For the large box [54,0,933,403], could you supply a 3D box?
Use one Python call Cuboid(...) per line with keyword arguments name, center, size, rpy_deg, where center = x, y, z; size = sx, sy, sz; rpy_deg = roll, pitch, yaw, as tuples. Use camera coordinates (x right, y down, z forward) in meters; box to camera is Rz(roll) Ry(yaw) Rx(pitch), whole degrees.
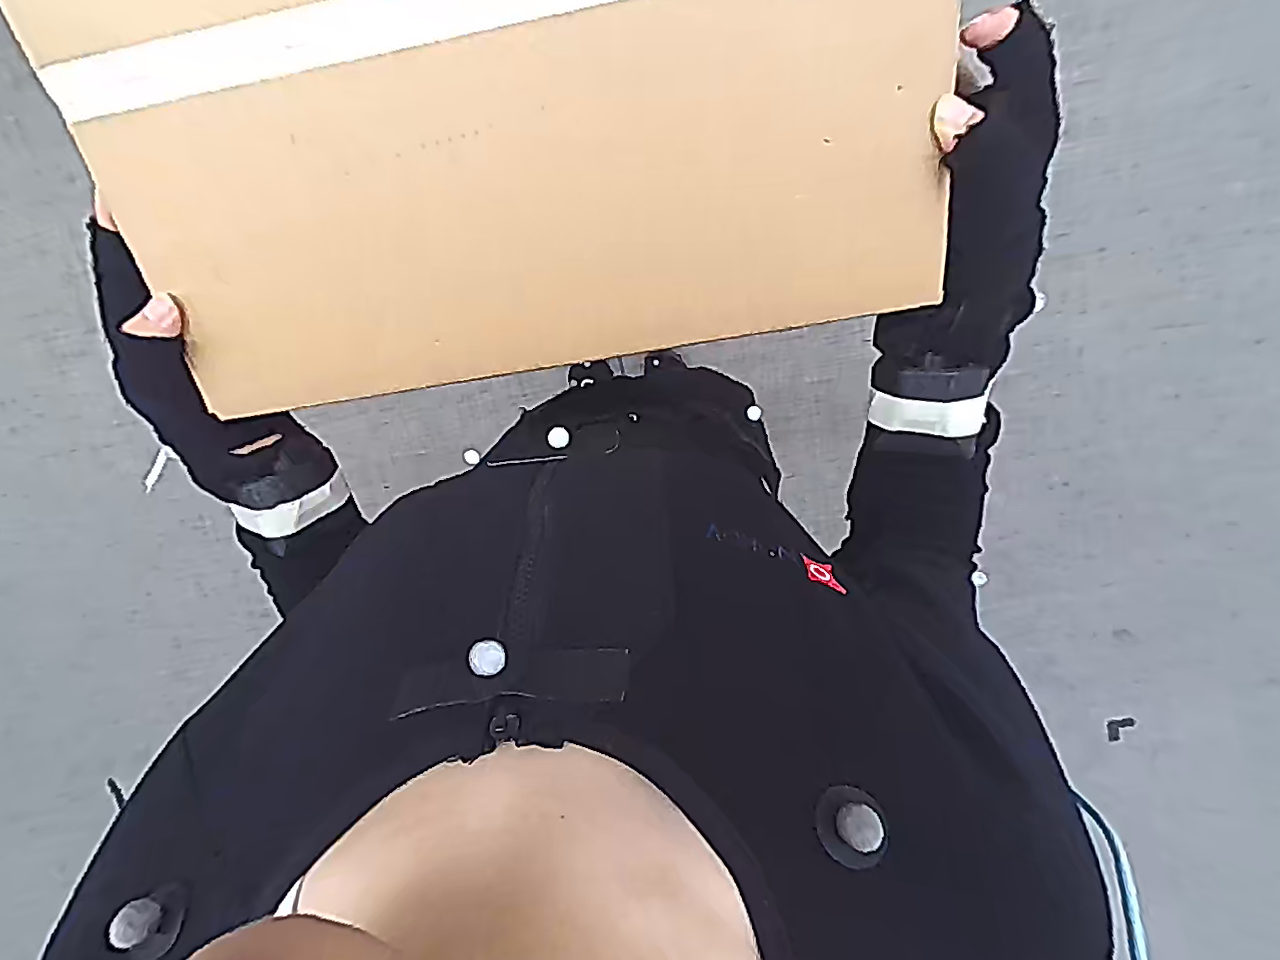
Cuboid(name="large box", center=(-0.067, -0.271, 0.384), size=(0.408, 0.320, 0.320), rpy_deg=(-8, 114, 5))
